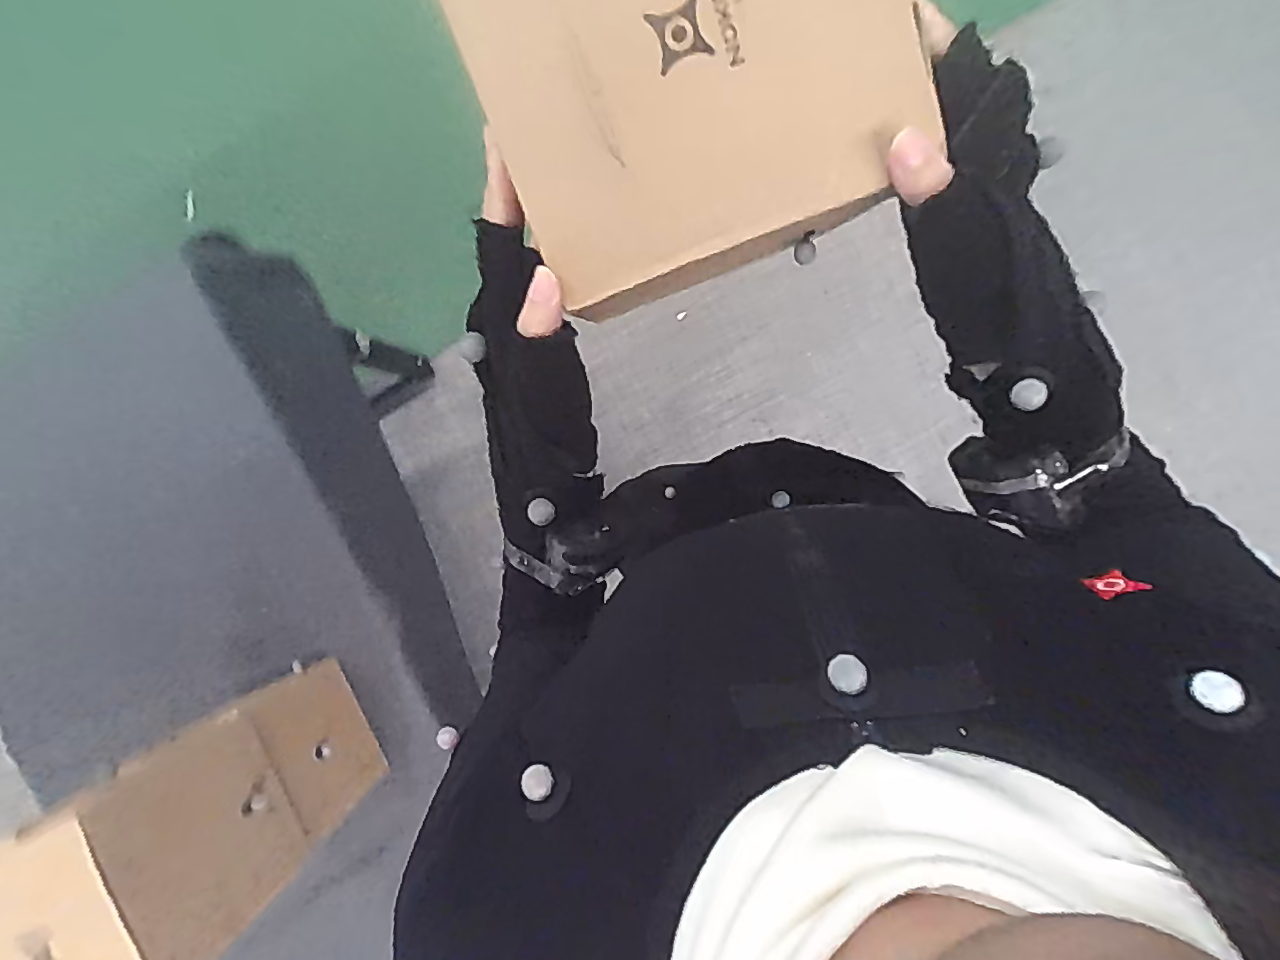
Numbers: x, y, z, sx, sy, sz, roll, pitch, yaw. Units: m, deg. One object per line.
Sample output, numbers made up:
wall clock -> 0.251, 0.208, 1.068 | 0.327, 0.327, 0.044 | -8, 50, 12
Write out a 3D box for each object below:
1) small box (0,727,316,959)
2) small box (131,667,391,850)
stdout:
small box -> -0.461, 0.366, 0.515 | 0.168, 0.176, 0.179 | -26, 89, 6
small box -> -0.456, 0.358, 0.678 | 0.168, 0.176, 0.179 | -26, 91, 6
